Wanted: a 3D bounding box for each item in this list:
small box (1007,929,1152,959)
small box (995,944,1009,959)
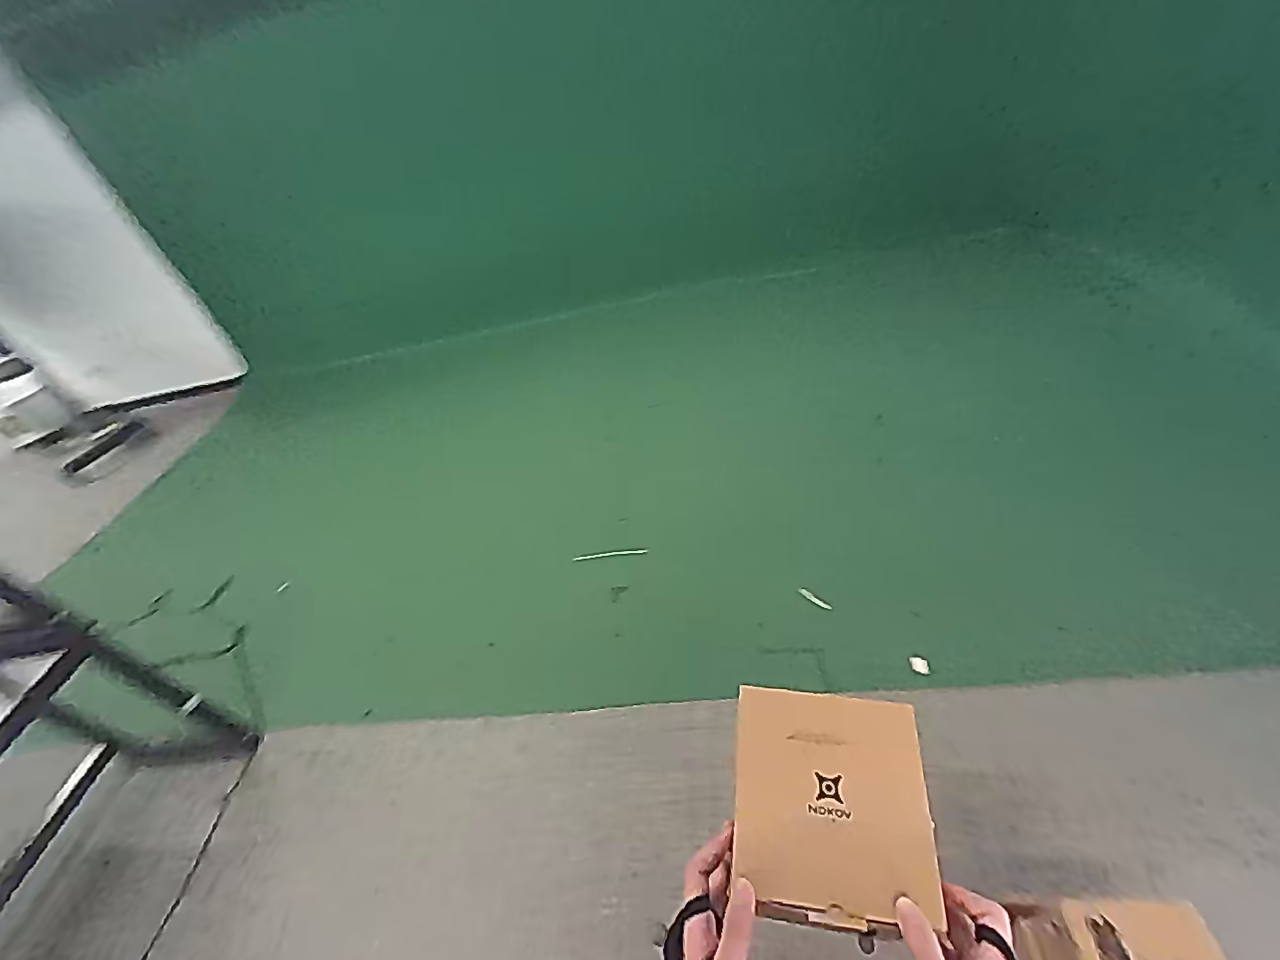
[{"bbox_3d":[0.728,0.847,0.867,0.168,0.176,0.179,-7,42,10],"label":"small box"},{"bbox_3d":[0.766,0.965,0.973,0.179,0.176,0.168,-5,41,11],"label":"small box"}]
